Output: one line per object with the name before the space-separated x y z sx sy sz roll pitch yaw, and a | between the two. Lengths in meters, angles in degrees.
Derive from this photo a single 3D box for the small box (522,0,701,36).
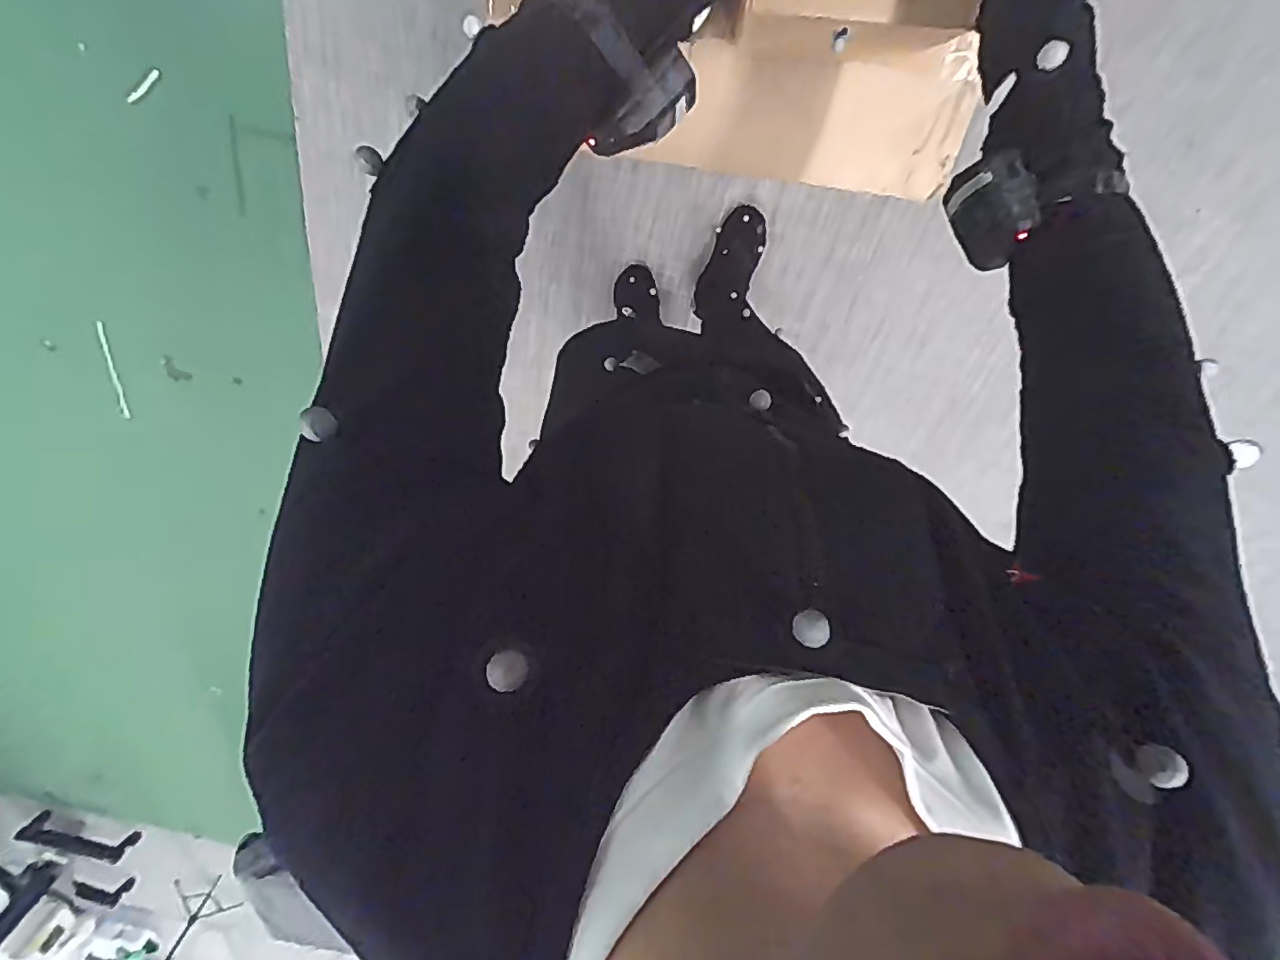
small box | -0.027 -0.496 0.451 0.179 0.176 0.168 8 121 1

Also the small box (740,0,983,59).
small box | 0.185 -0.466 0.447 0.179 0.176 0.168 6 122 1
